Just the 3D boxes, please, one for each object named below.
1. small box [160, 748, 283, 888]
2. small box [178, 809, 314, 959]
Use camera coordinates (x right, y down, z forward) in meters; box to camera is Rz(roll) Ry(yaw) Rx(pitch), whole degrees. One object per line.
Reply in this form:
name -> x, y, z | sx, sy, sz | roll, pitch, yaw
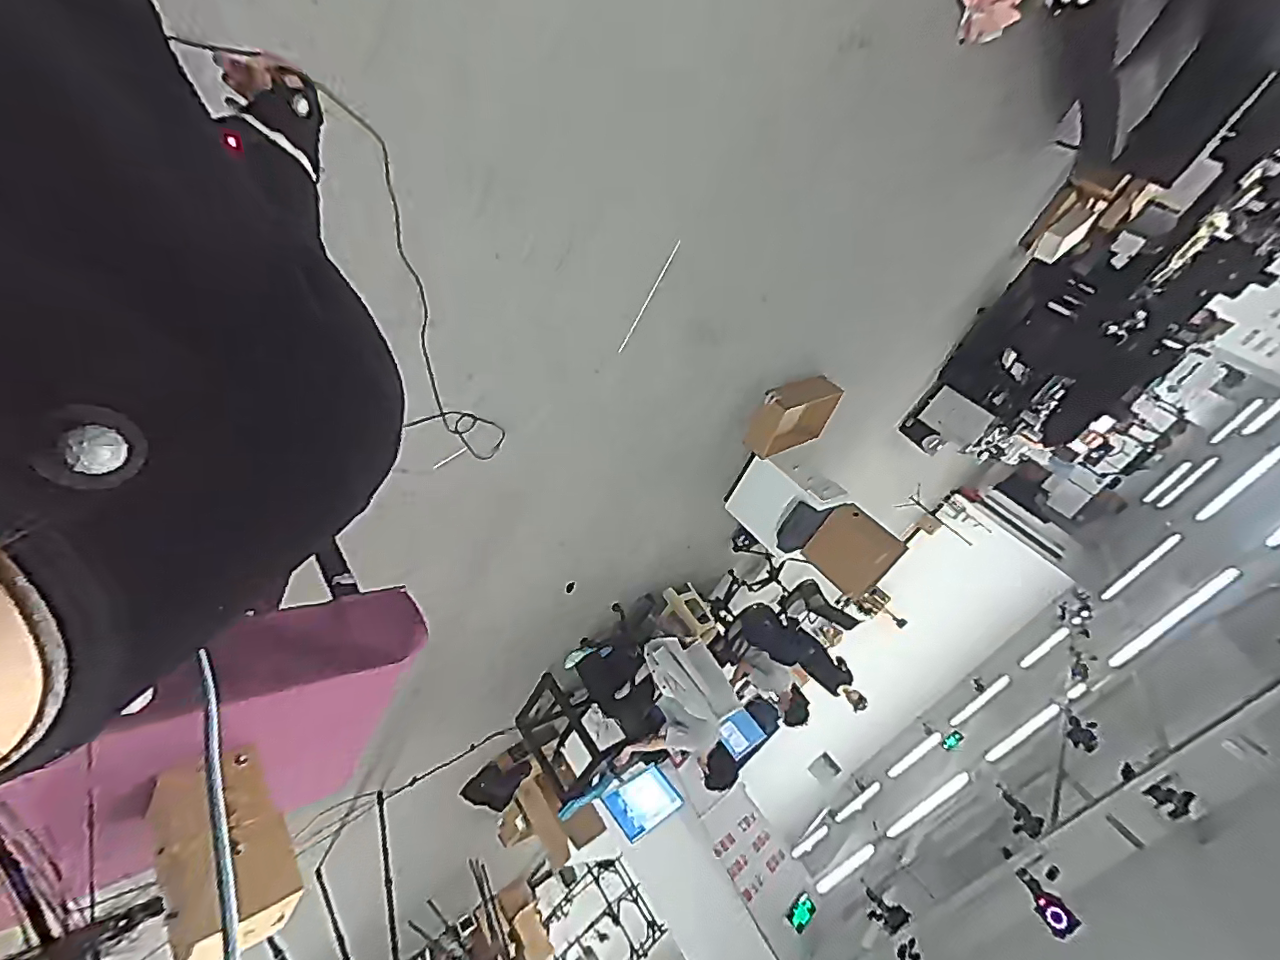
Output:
small box -> -0.895, 0.702, 1.151 | 0.168, 0.176, 0.179 | 2, 129, -50
small box -> -0.789, 0.806, 1.078 | 0.179, 0.176, 0.168 | 4, 127, -51
